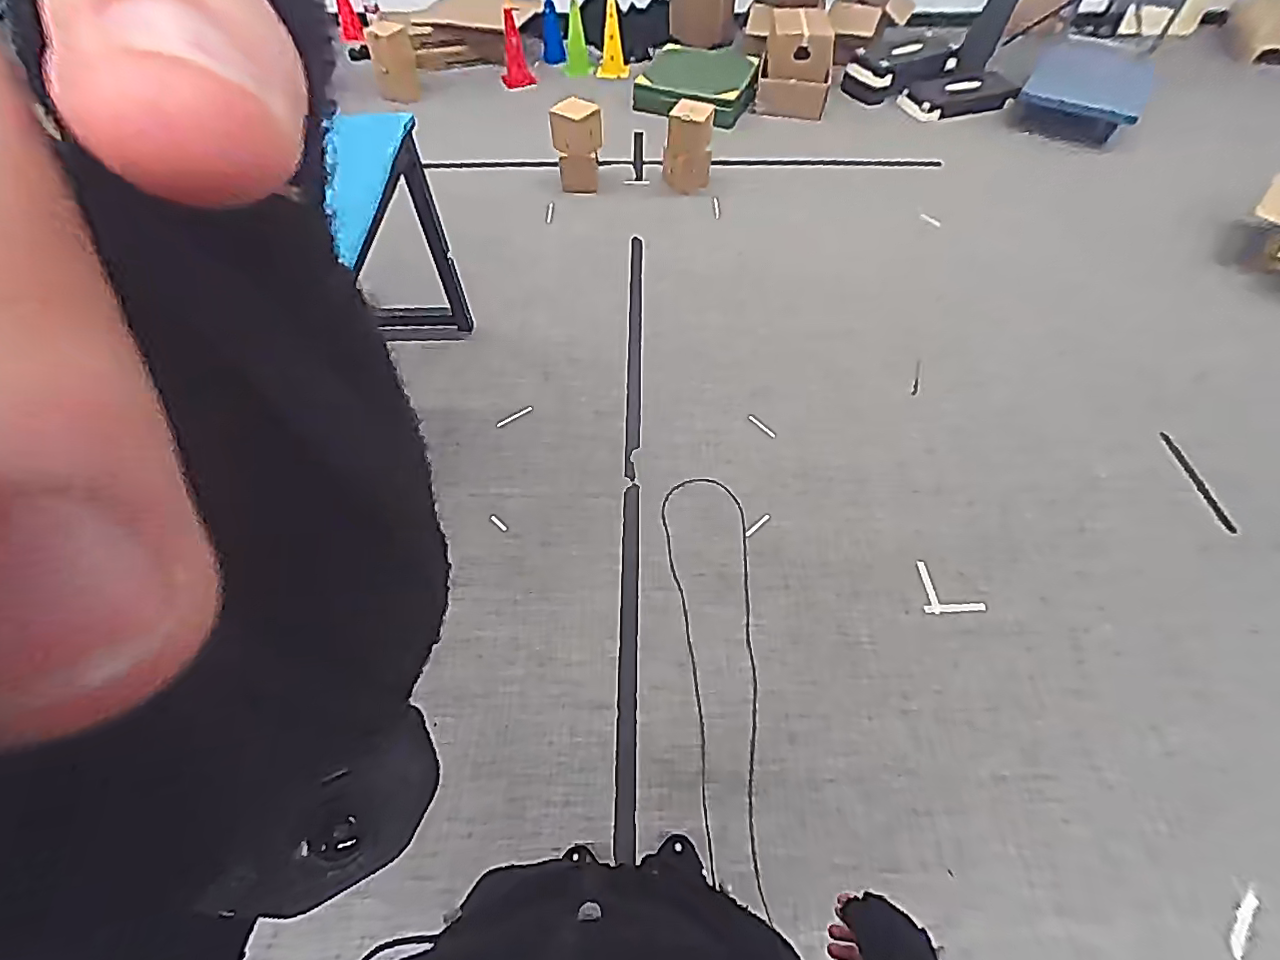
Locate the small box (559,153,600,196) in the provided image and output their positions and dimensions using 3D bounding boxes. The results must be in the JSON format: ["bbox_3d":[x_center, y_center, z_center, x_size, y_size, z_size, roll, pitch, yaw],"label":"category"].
[{"bbox_3d":[-0.294,-1.529,2.670,0.179,0.176,0.168,1,56,1],"label":"small box"}]

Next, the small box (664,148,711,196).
[{"bbox_3d":[0.232,-1.547,2.689,0.179,0.176,0.168,-26,62,-16],"label":"small box"}]

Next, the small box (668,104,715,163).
[{"bbox_3d":[0.239,-1.627,2.547,0.168,0.176,0.179,21,58,10],"label":"small box"}]

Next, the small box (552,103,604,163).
[{"bbox_3d":[-0.292,-1.632,2.537,0.179,0.176,0.168,32,61,20],"label":"small box"}]
